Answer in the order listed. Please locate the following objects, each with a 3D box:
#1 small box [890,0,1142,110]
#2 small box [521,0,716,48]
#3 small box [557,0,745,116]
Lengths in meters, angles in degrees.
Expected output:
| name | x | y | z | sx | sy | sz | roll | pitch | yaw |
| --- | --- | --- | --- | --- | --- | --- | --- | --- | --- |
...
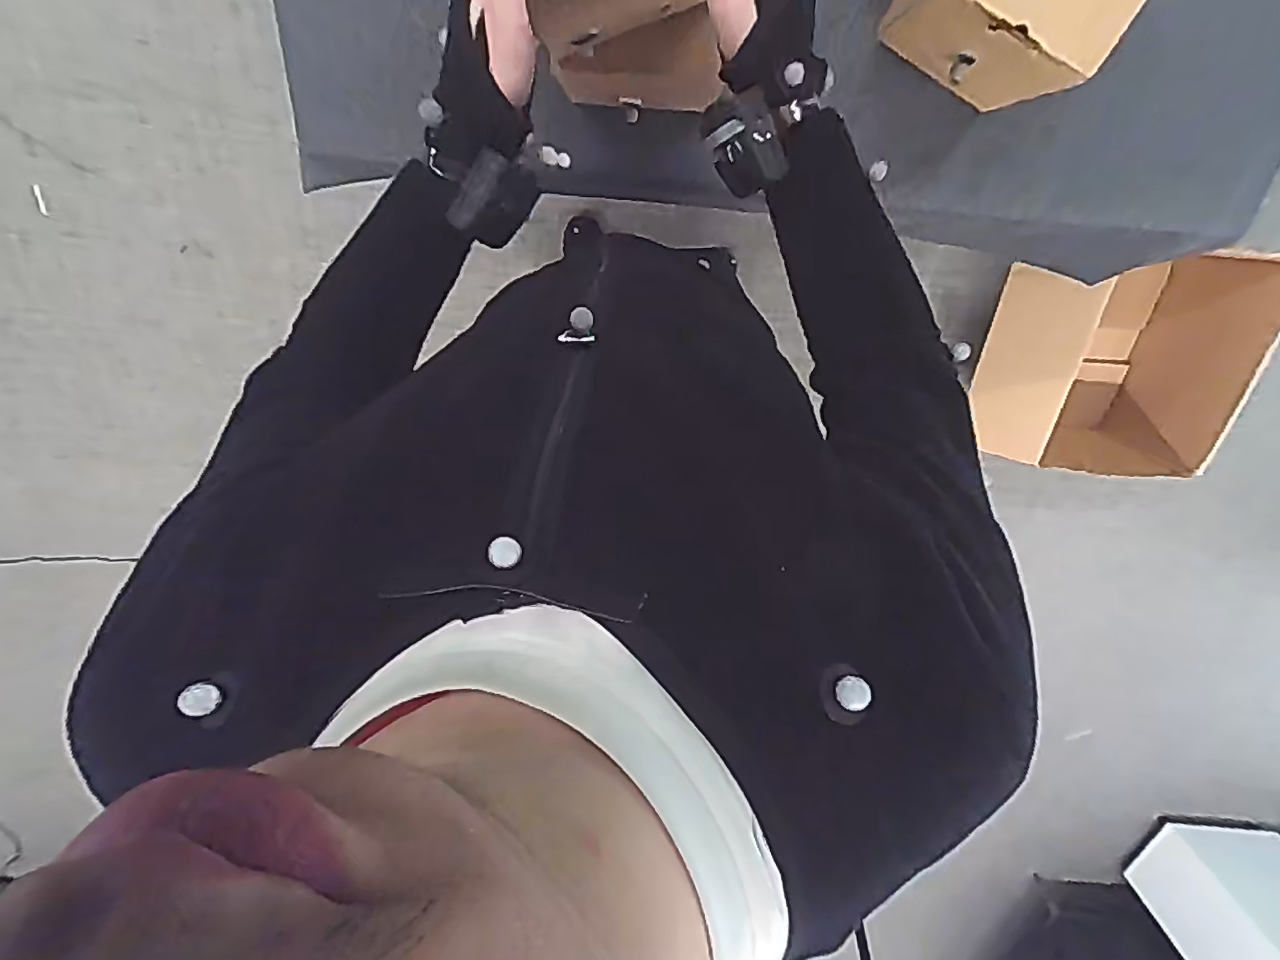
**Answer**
| name | x | y | z | sx | sy | sz | roll | pitch | yaw |
| --- | --- | --- | --- | --- | --- | --- | --- | --- | --- |
| small box | 0.376 | -0.500 | 0.528 | 0.168 | 0.176 | 0.179 | 25 | 115 | -11 |
| small box | -0.022 | -0.449 | 0.390 | 0.168 | 0.176 | 0.179 | -14 | 113 | 7 |
| small box | 0.011 | -0.476 | 0.524 | 0.168 | 0.176 | 0.179 | 2 | 116 | 0 |
